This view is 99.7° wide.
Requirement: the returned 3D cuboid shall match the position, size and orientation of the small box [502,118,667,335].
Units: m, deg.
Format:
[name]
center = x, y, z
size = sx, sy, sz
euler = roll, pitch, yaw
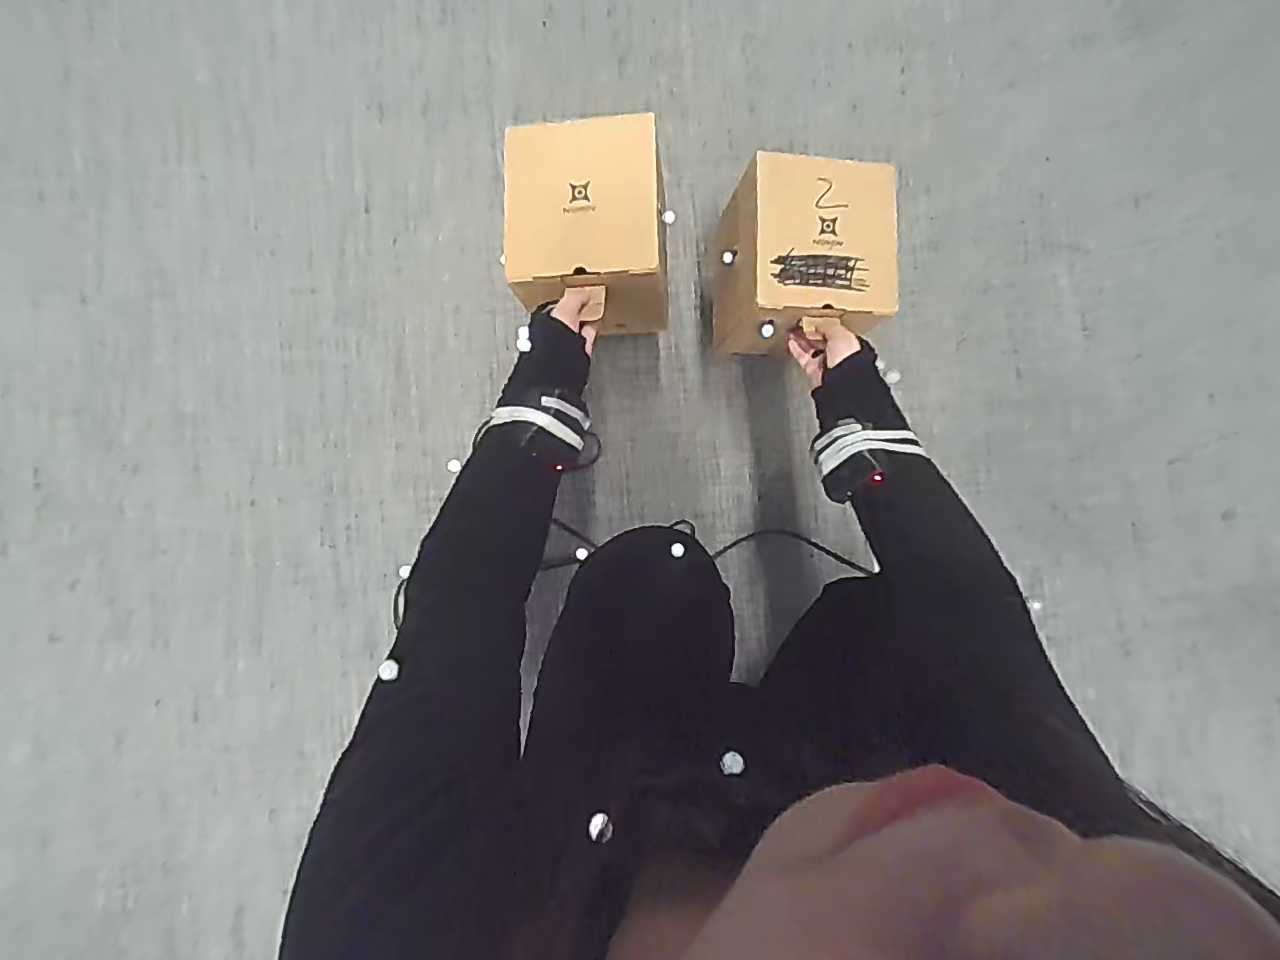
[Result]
[small box]
center = -0.056, -0.288, 0.648
size = 0.168, 0.176, 0.179
euler = -1, 86, 7
